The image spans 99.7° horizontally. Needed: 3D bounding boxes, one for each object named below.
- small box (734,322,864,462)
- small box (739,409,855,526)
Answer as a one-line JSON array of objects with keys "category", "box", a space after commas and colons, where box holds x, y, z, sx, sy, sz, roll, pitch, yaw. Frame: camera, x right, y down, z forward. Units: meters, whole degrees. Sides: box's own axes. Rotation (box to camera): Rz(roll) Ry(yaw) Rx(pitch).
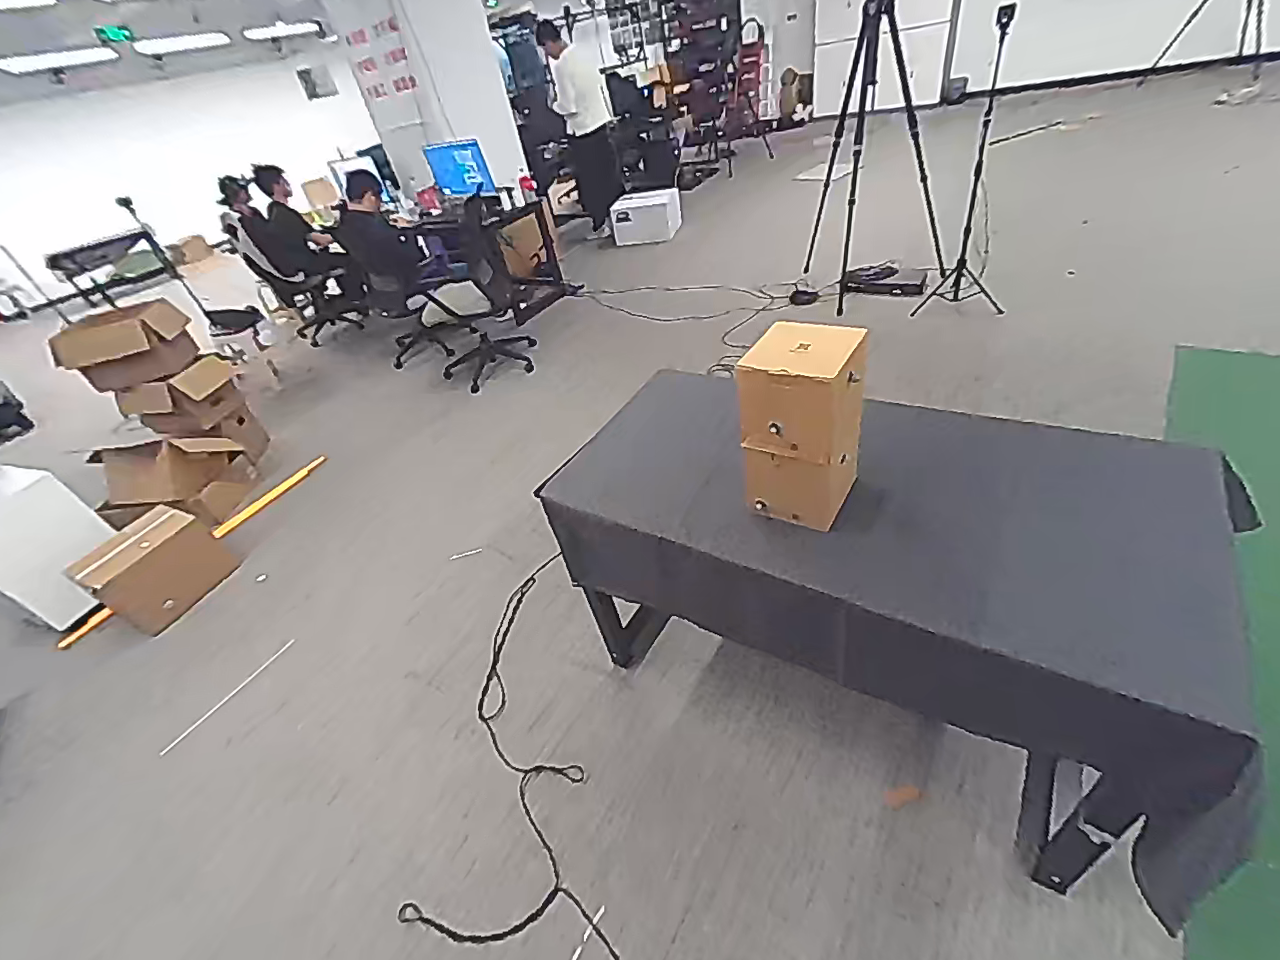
[{"category": "small box", "box": [0.281, -0.160, 0.958, 0.168, 0.176, 0.179, 16, 47, 32]}, {"category": "small box", "box": [0.311, -0.037, 1.059, 0.168, 0.176, 0.179, 15, 46, 32]}]
